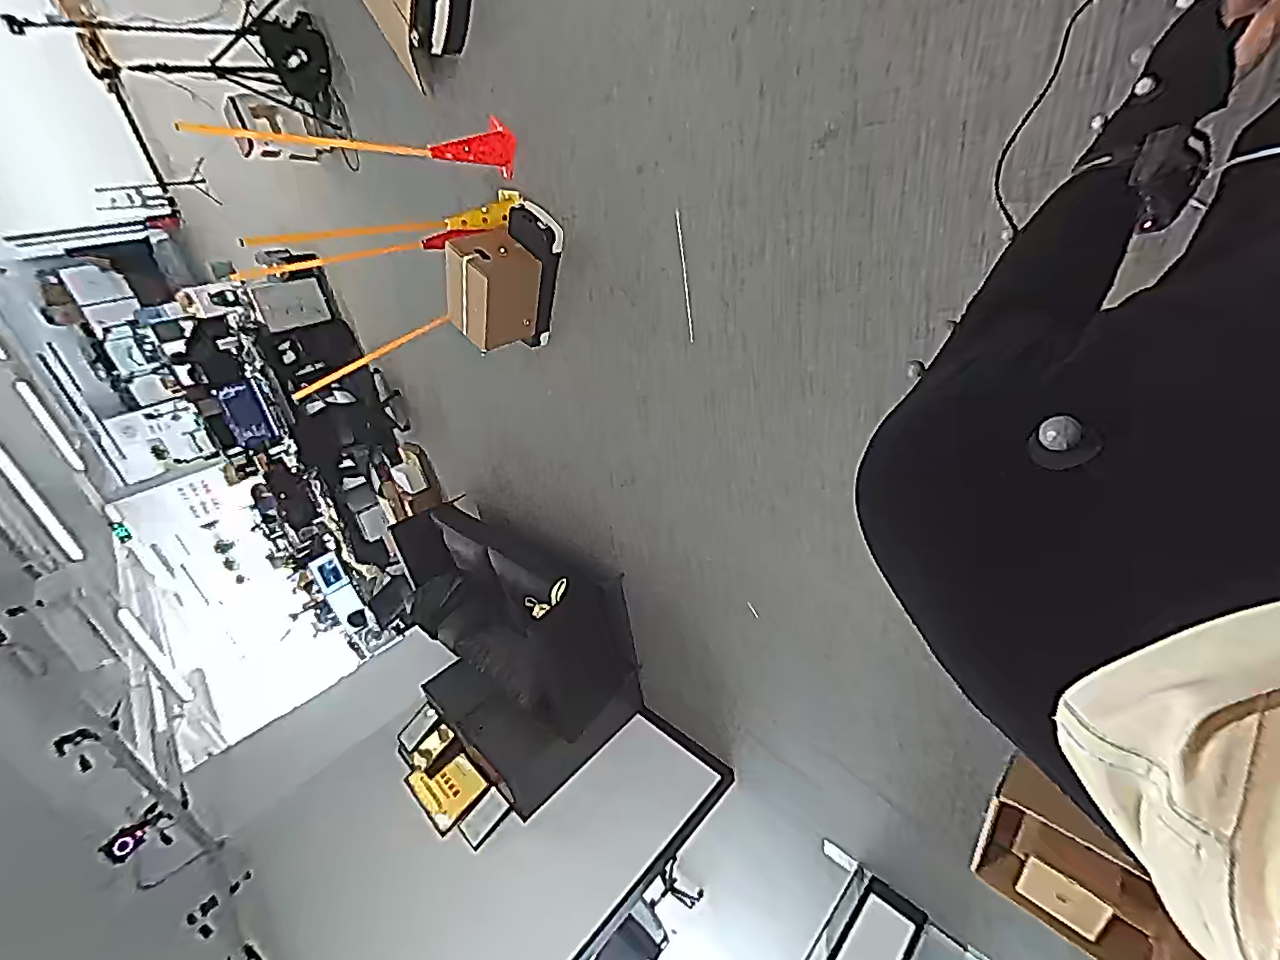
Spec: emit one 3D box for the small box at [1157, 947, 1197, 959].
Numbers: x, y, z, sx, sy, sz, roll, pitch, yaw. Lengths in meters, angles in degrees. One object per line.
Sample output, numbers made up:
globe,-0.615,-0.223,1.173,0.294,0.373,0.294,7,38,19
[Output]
small box,1.146,1.121,1.098,0.168,0.176,0.179,20,130,41
